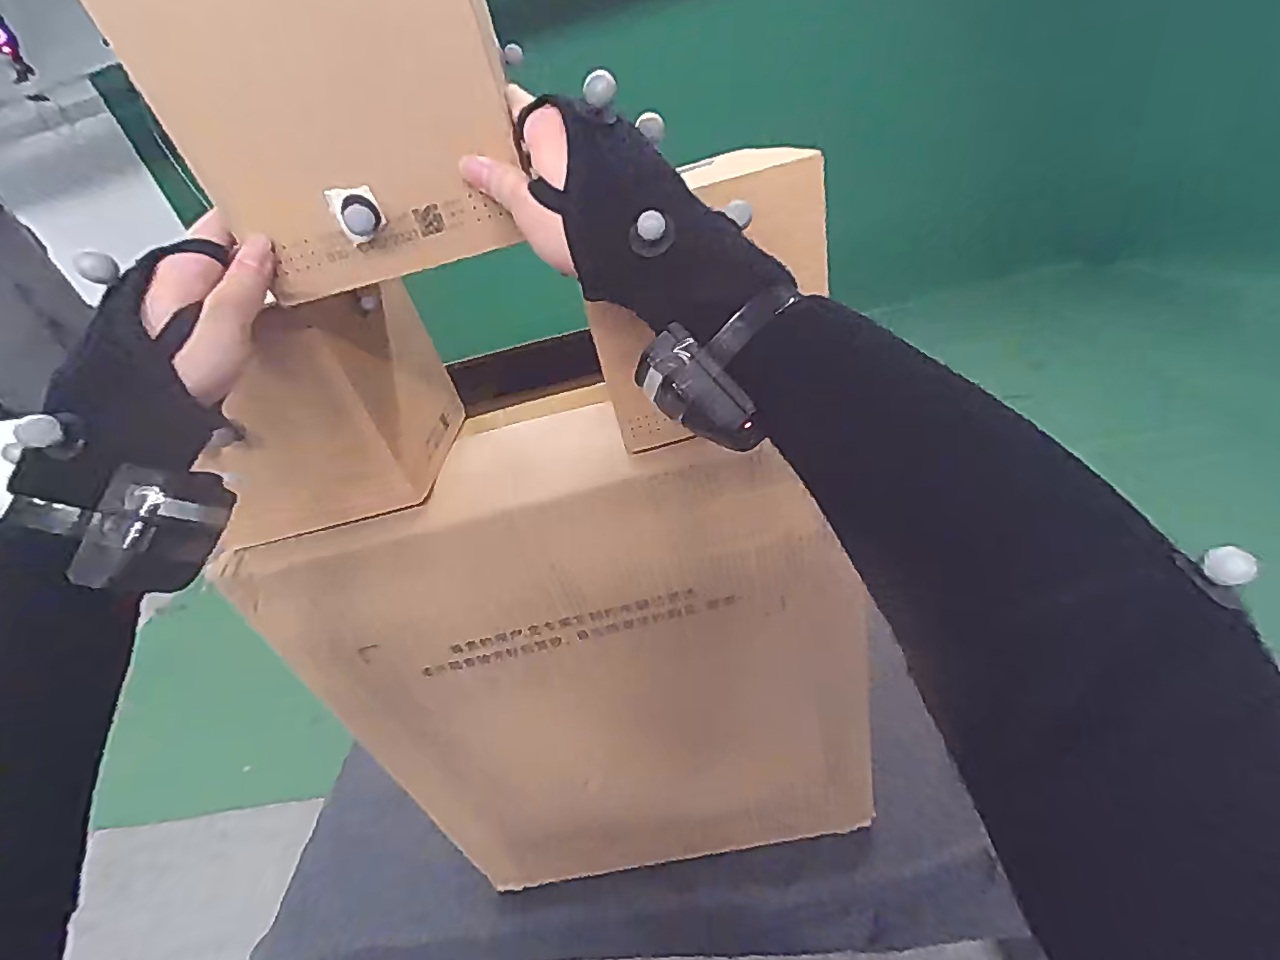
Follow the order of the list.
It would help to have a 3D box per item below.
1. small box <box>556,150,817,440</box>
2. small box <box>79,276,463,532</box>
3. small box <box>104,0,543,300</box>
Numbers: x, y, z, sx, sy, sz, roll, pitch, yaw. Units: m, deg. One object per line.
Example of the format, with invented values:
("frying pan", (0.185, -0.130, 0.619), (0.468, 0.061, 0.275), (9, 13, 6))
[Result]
("small box", (0.033, -0.156, 0.447), (0.168, 0.176, 0.179), (-15, 33, 0))
("small box", (-0.284, -0.077, 0.467), (0.179, 0.176, 0.168), (-14, 34, 6))
("small box", (-0.167, -0.236, 0.346), (0.168, 0.176, 0.179), (-17, 38, 0))
